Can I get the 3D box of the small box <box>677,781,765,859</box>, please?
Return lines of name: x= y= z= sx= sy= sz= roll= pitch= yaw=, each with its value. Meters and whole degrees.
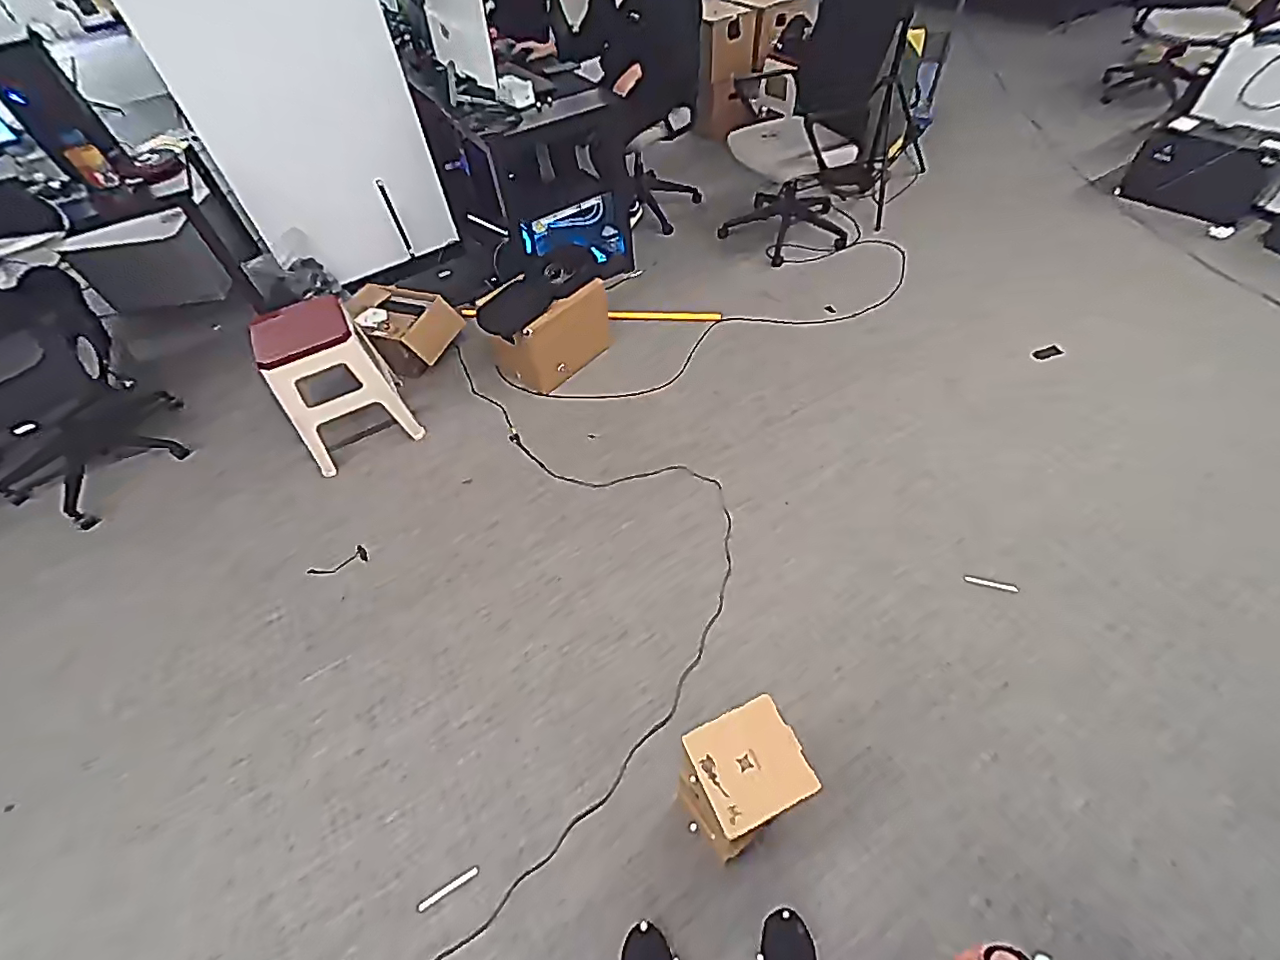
small box: x=0.198 y=0.715 z=1.218 sx=0.179 sy=0.176 sz=0.168 roll=-32 pitch=56 yaw=-17

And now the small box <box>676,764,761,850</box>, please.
small box: x=0.191 y=0.612 z=1.093 sx=0.179 sy=0.176 sz=0.168 roll=-33 pitch=58 yaw=-21

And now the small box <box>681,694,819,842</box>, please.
small box: x=0.182 y=0.513 z=0.962 sx=0.179 sy=0.176 sz=0.168 roll=-21 pitch=54 yaw=-13
